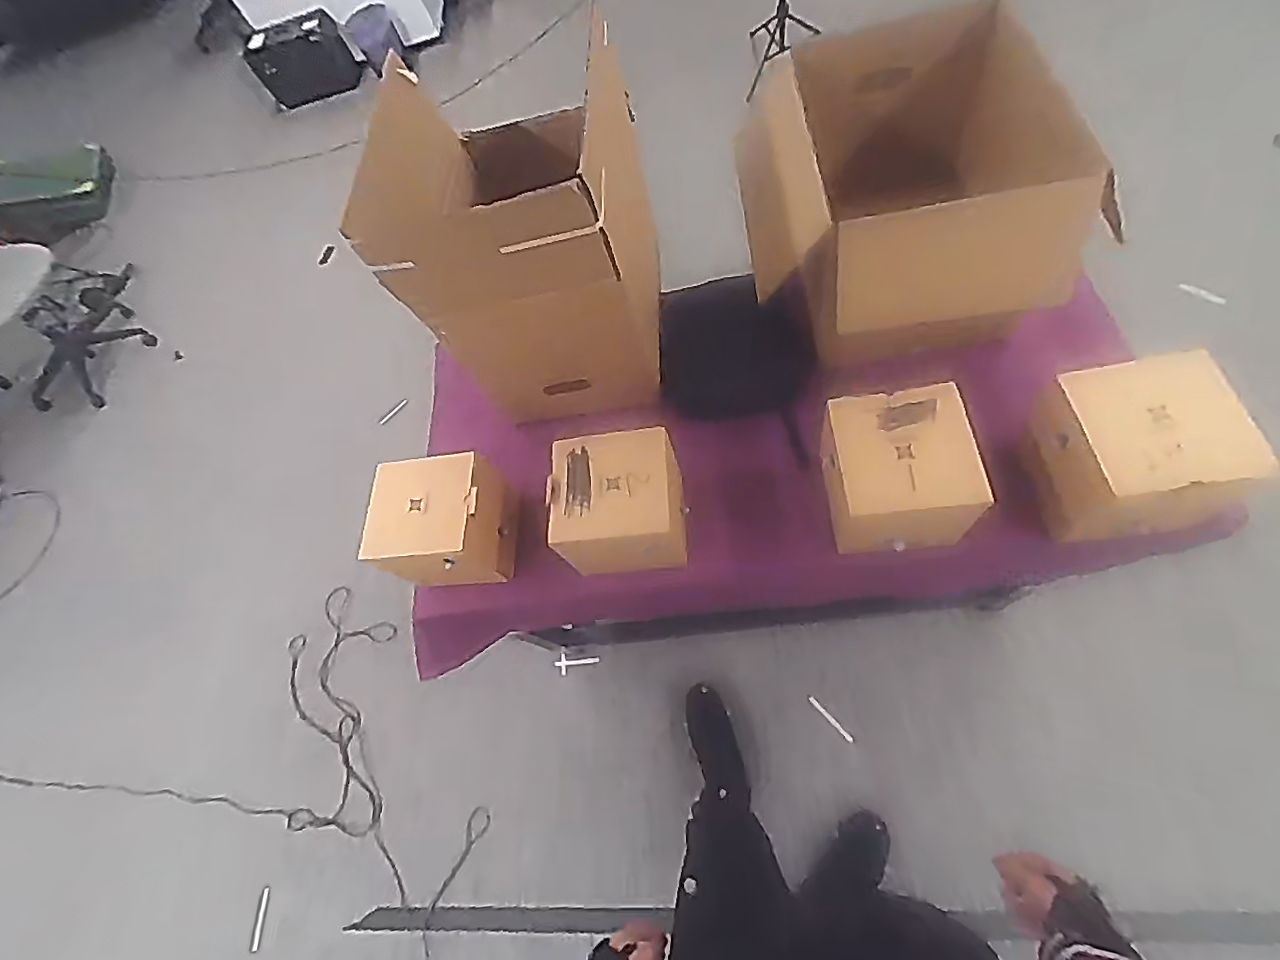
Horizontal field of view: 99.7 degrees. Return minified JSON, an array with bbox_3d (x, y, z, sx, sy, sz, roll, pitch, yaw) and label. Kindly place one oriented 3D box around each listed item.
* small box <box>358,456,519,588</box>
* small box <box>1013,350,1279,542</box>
[{"bbox_3d":[-0.322,0.077,0.898,0.179,0.176,0.168,-6,64,10],"label":"small box"},{"bbox_3d":[0.626,-0.036,0.703,0.168,0.176,0.179,-9,63,12],"label":"small box"}]
